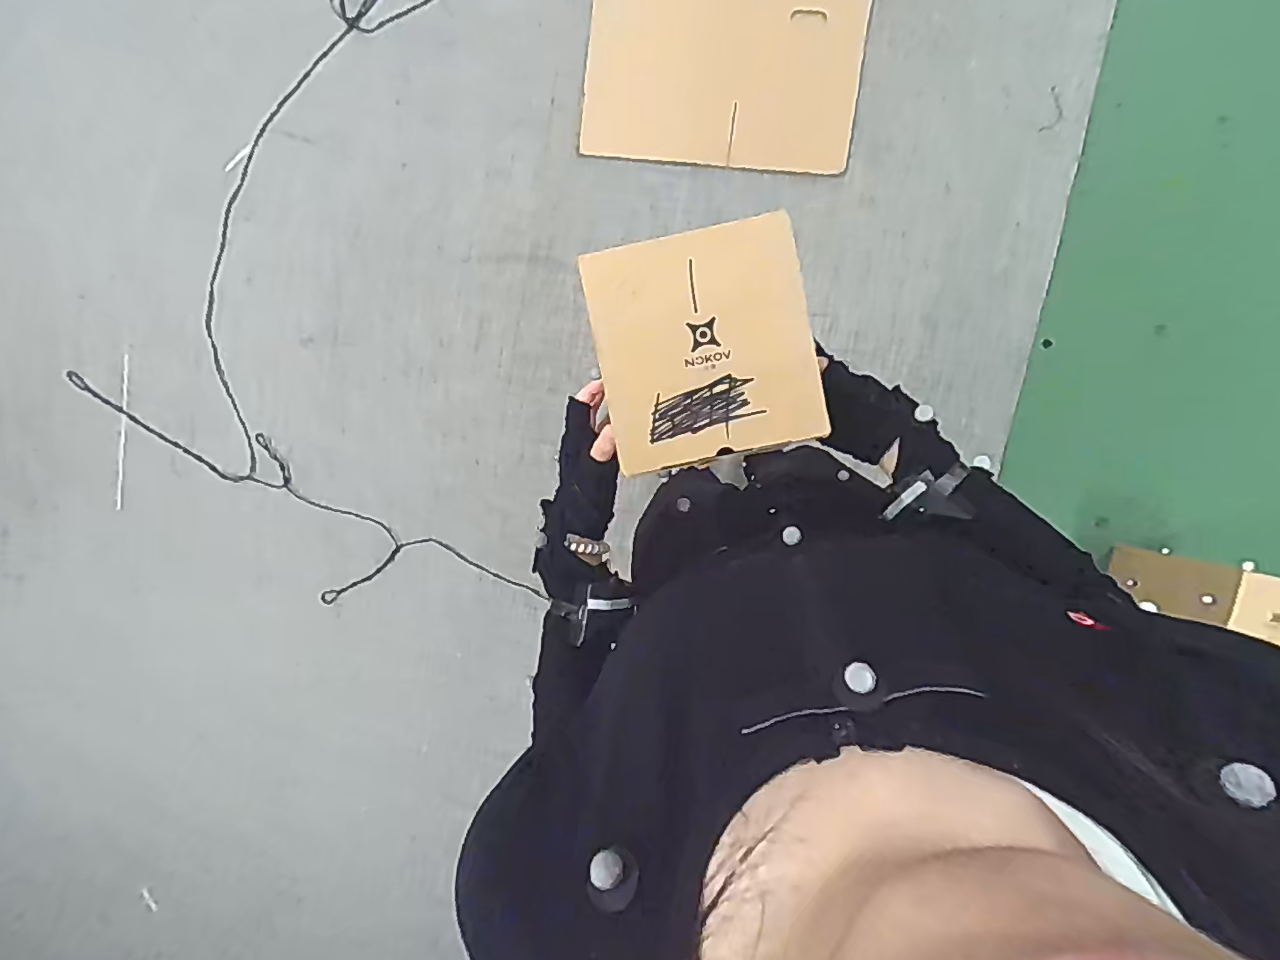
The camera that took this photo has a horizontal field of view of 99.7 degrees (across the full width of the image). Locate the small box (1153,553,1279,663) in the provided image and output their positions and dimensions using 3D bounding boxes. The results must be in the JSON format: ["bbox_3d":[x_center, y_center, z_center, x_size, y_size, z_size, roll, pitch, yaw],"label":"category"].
[{"bbox_3d":[1.261,0.266,1.152,0.168,0.176,0.179,13,96,5],"label":"small box"}]

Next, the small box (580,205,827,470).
[{"bbox_3d":[0.052,-0.113,0.492,0.168,0.176,0.179,-11,93,2],"label":"small box"}]
